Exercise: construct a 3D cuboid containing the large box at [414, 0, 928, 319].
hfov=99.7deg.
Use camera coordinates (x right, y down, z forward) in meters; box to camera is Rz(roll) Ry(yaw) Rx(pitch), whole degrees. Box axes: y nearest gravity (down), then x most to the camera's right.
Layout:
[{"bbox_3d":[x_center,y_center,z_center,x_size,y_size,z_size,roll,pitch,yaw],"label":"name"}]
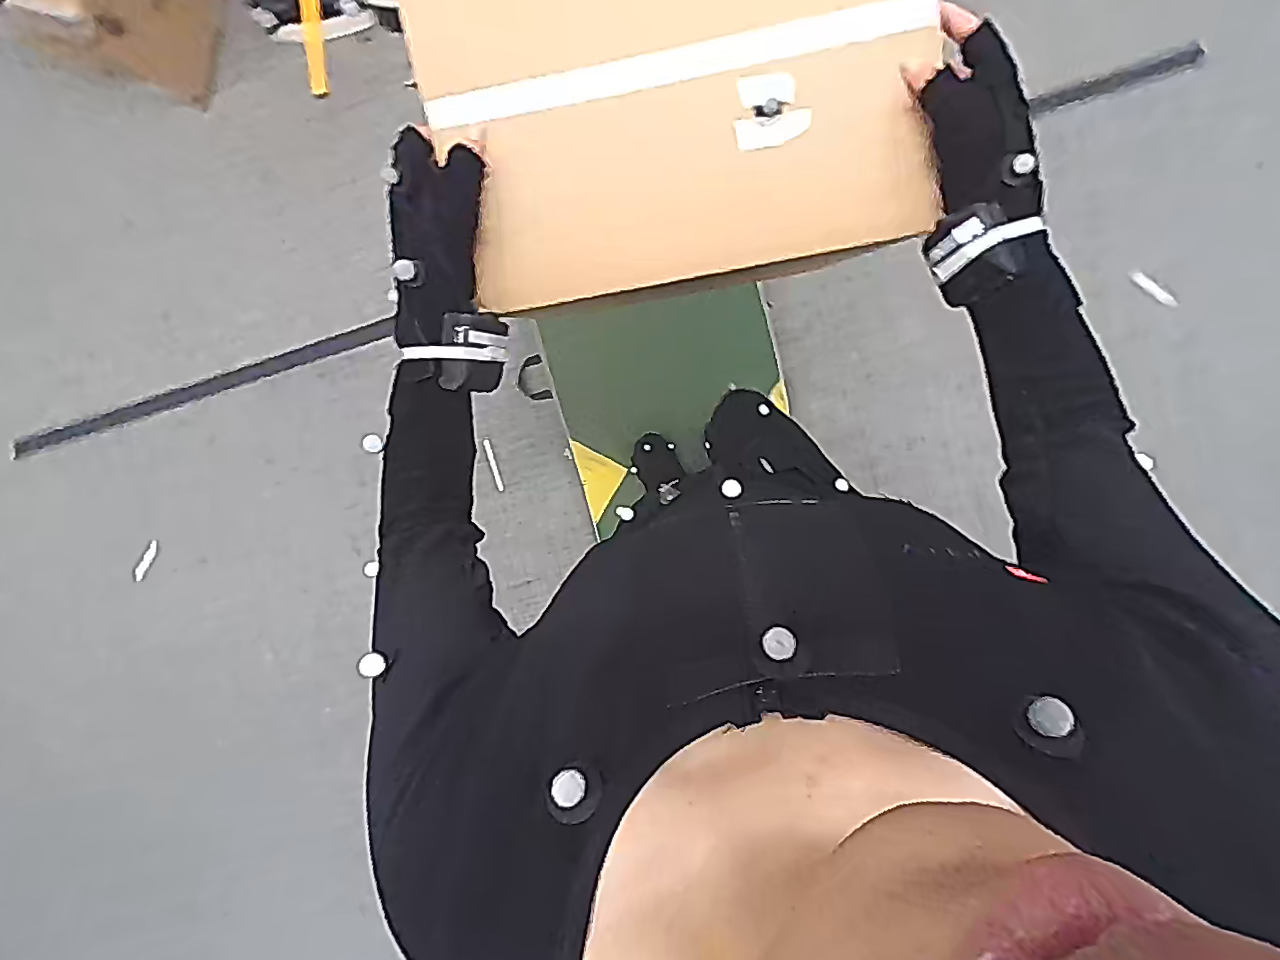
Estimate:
[{"bbox_3d":[0.028,-0.373,0.588,0.408,0.320,0.320,-10,106,2],"label":"large box"}]
